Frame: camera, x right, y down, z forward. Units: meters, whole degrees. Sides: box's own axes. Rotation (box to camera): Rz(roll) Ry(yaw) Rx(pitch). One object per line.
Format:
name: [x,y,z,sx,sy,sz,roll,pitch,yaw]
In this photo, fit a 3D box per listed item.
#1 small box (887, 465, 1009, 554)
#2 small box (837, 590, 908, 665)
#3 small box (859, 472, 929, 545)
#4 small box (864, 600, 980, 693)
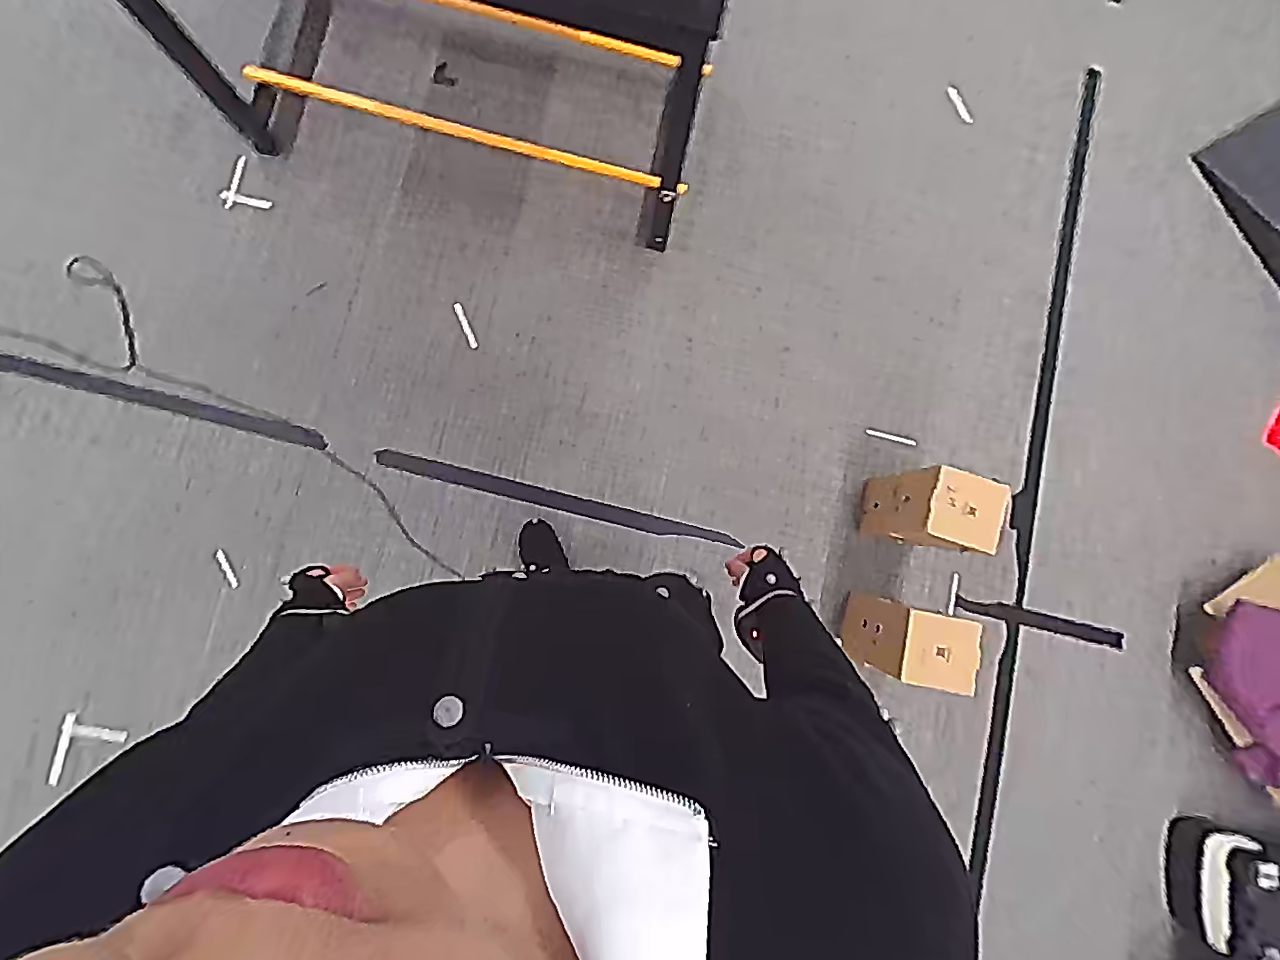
small box: [0.747,0.073,1.325,0.179,0.176,0.168,18,84,-2]
small box: [0.658,0.409,1.462,0.168,0.176,0.179,16,86,-2]
small box: [0.732,0.083,1.490,0.179,0.176,0.168,13,85,-2]
small box: [0.672,0.392,1.301,0.179,0.176,0.168,11,84,-2]
